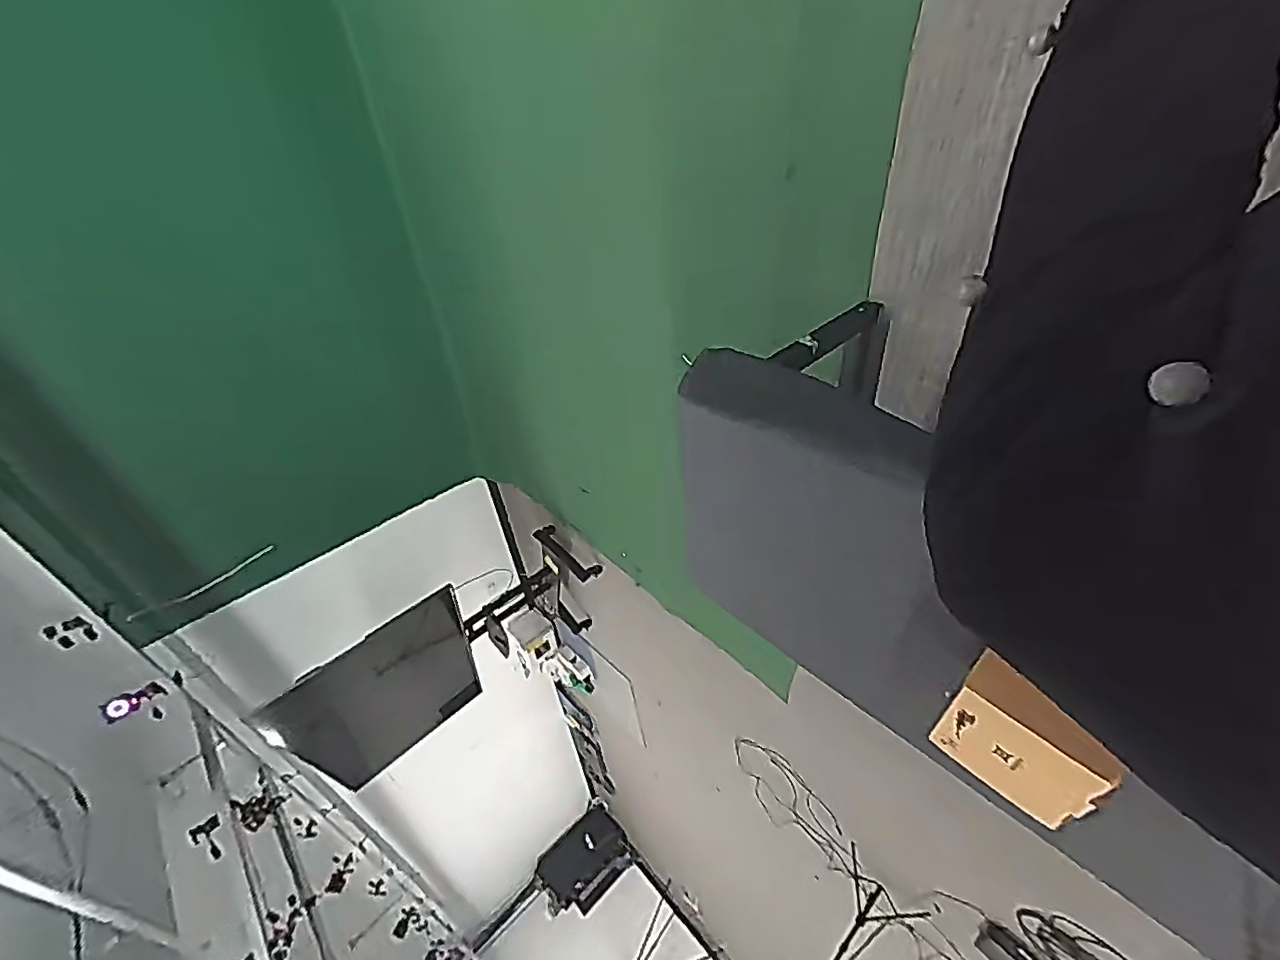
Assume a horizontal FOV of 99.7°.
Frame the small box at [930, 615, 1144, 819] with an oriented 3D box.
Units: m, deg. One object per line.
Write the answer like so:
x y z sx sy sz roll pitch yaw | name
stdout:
0.564 0.330 0.776 0.179 0.176 0.168 34 144 35 | small box
